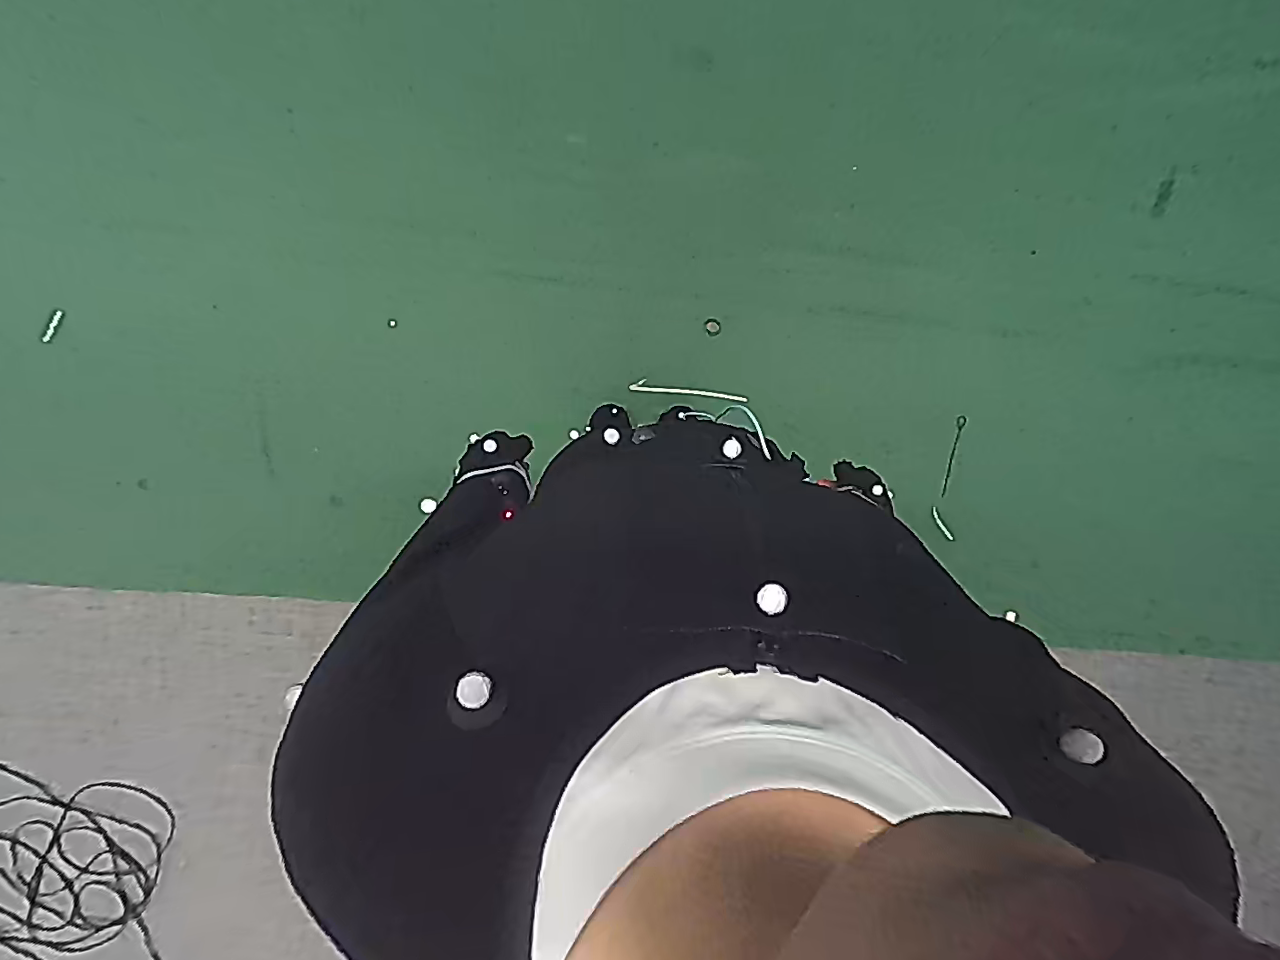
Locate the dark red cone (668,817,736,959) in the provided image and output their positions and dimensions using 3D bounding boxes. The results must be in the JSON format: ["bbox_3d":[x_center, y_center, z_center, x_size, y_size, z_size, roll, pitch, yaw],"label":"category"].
[{"bbox_3d":[0.191,1.112,1.443,0.202,0.394,0.201,-1,97,-3],"label":"dark red cone"}]
